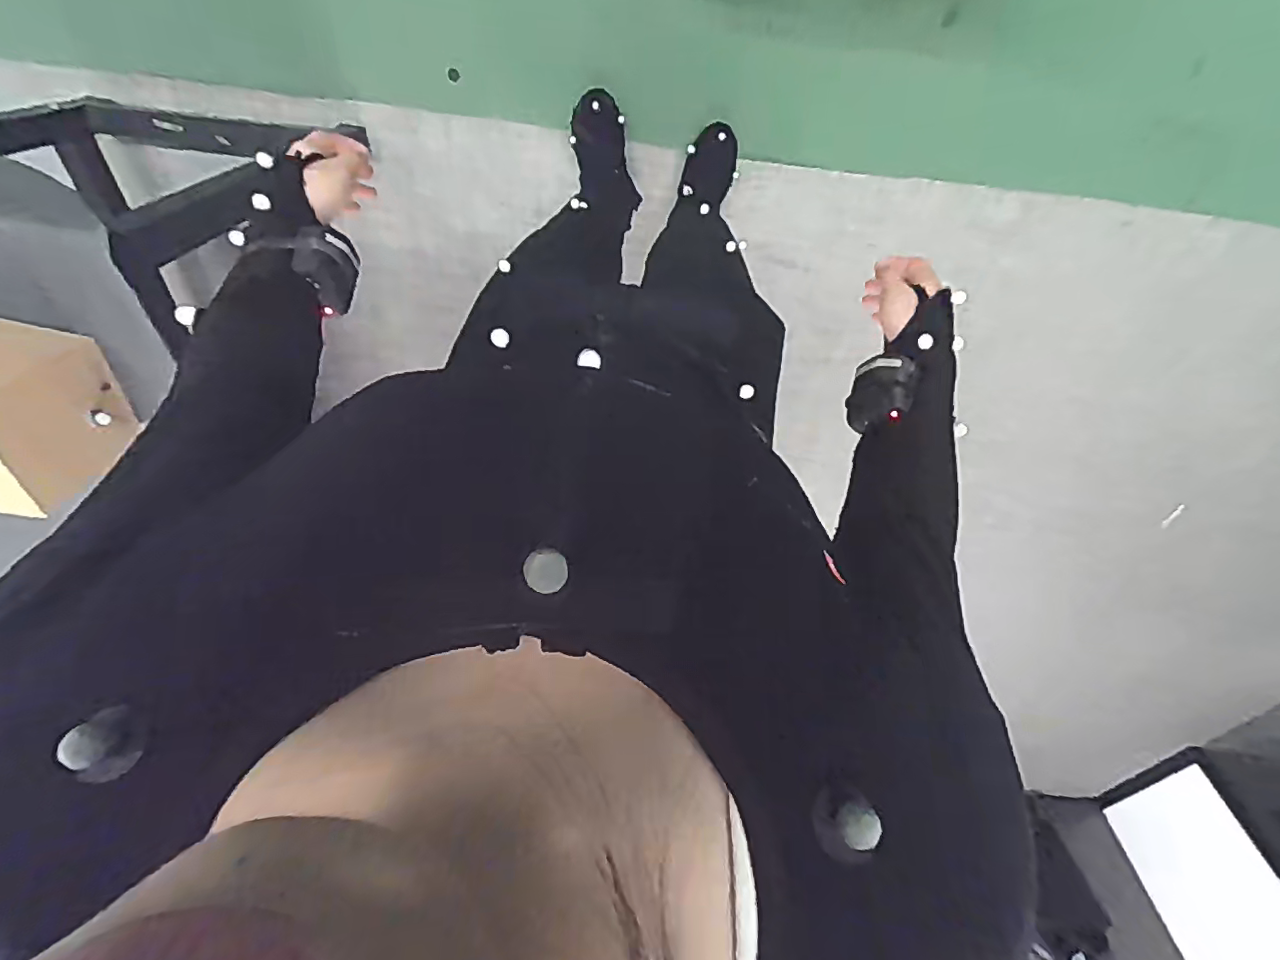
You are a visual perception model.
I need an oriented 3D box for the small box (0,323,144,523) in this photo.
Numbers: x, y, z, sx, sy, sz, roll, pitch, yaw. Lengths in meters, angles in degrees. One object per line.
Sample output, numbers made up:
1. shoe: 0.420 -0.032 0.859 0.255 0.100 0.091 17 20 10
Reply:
1. small box: -0.777 -0.076 0.654 0.179 0.176 0.168 11 132 -5
